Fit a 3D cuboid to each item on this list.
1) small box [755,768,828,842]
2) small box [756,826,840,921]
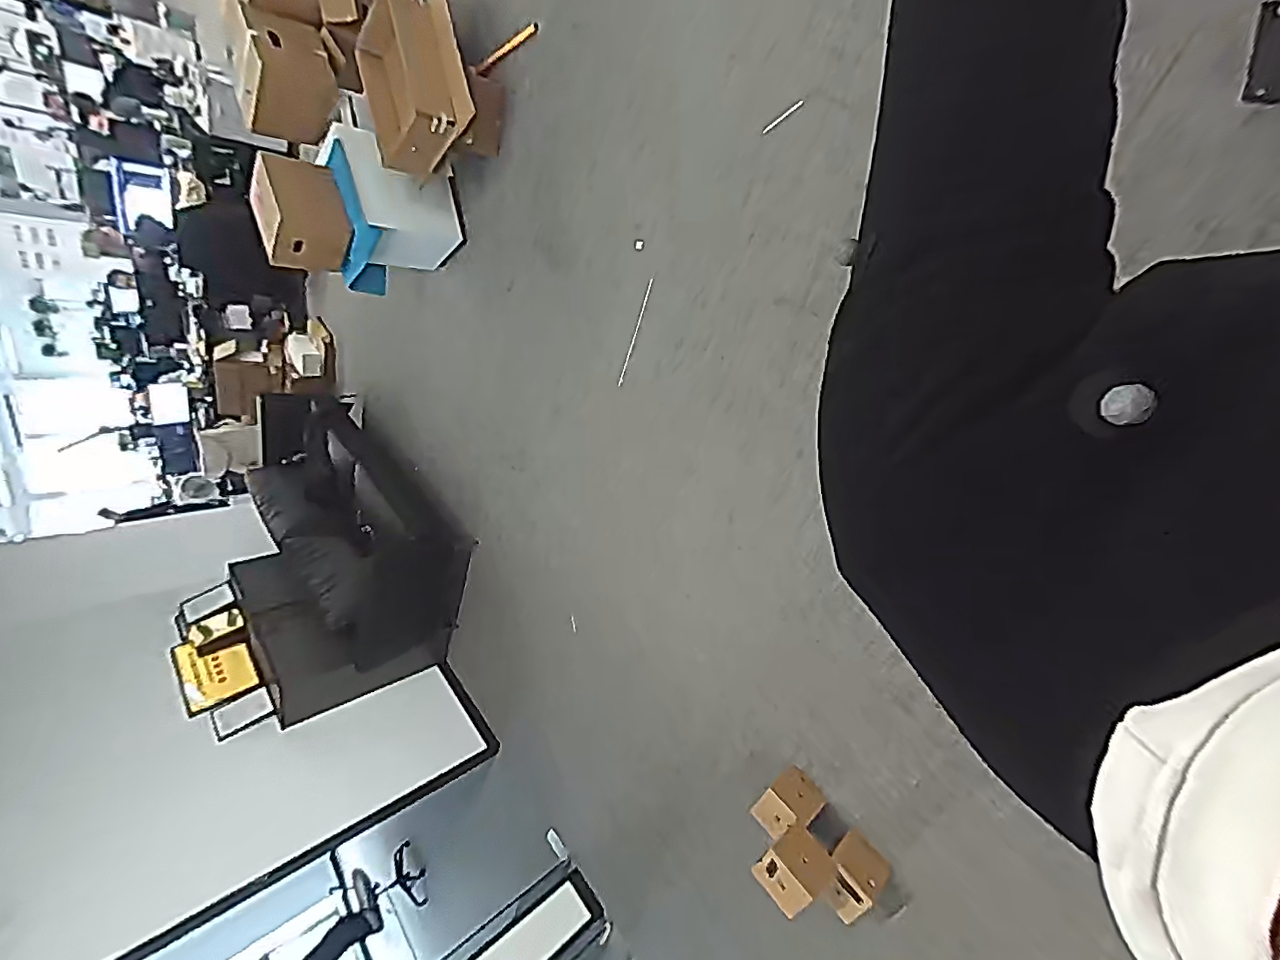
[{"bbox_3d":[0.557,1.198,1.974,0.168,0.176,0.179,41,125,31],"label":"small box"},{"bbox_3d":[0.525,1.293,1.793,0.179,0.176,0.168,42,126,30],"label":"small box"}]
